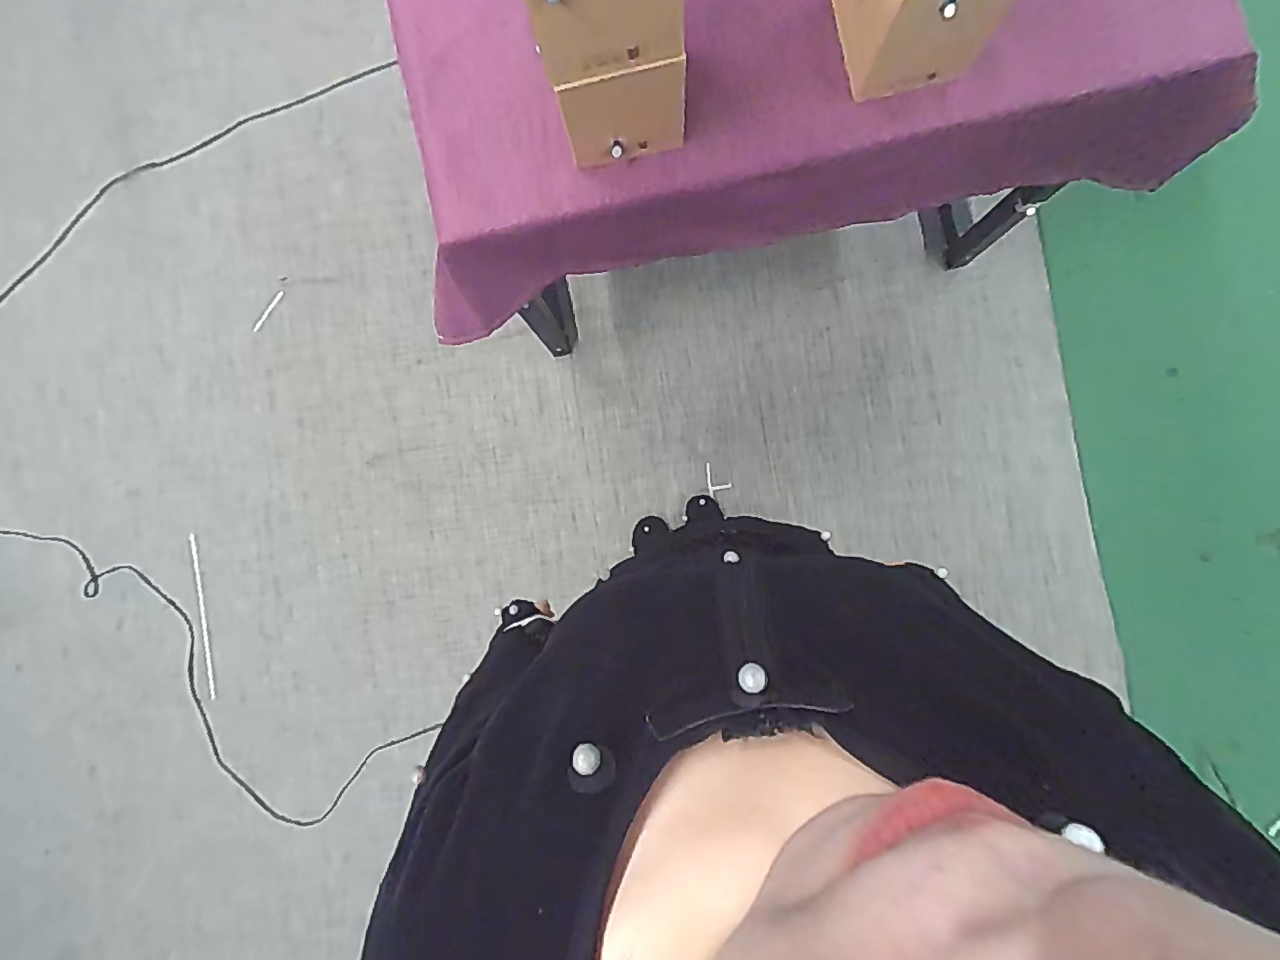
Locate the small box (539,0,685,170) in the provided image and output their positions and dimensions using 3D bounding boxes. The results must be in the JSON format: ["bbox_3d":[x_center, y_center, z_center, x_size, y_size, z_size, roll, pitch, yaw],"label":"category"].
[{"bbox_3d":[-0.035,-0.569,0.740,0.168,0.176,0.179,-11,88,3],"label":"small box"}]

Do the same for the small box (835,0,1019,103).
[{"bbox_3d":[0.375,-0.656,0.717,0.168,0.176,0.179,-12,86,4],"label":"small box"}]
